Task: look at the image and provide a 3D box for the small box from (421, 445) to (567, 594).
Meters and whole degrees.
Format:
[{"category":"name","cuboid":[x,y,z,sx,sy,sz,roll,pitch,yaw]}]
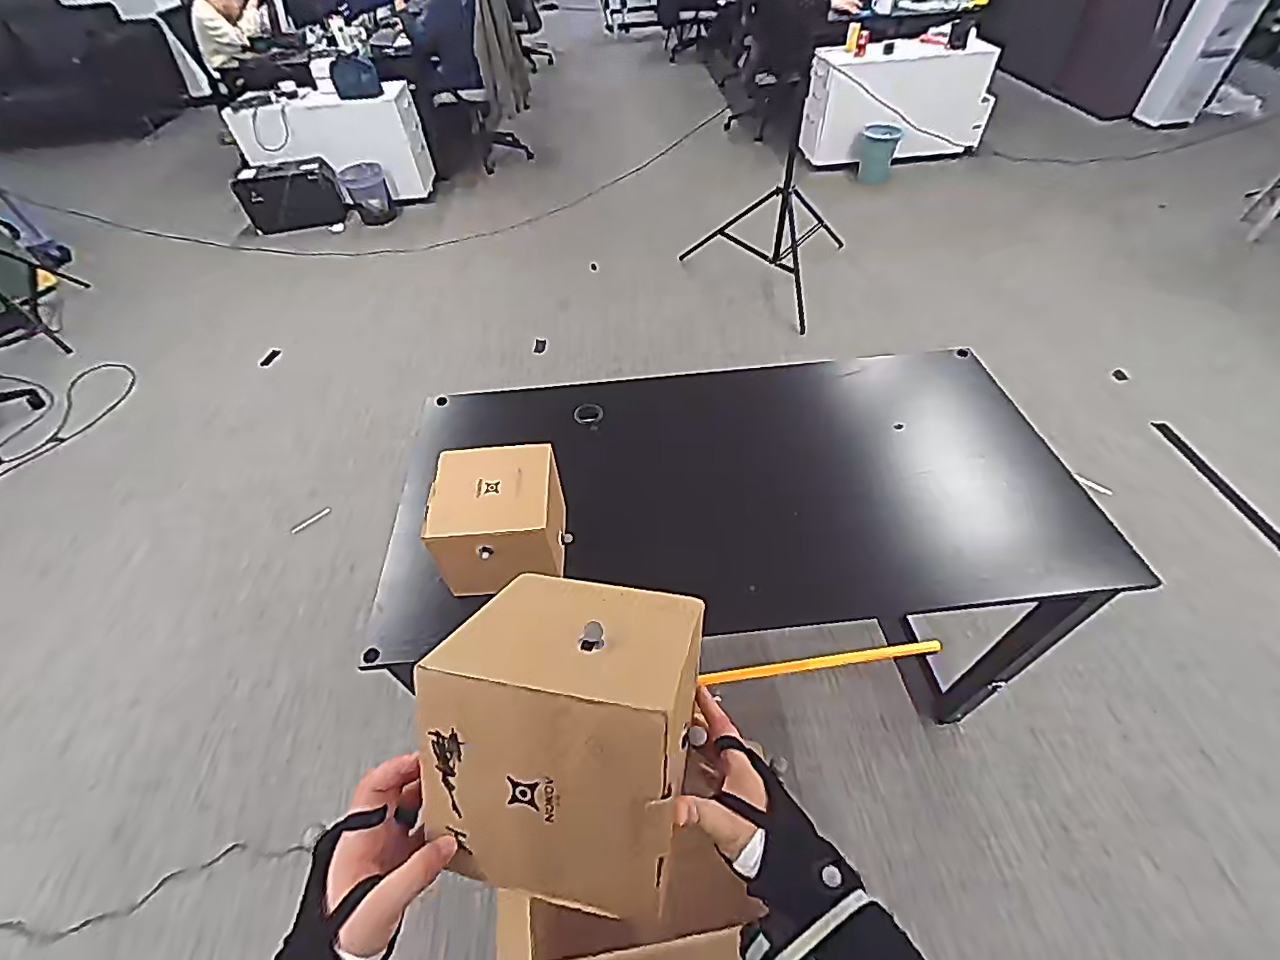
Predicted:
[{"category":"small box","cuboid":[-0.215,0.066,0.847,0.179,0.176,0.168,-5,50,-2]}]
